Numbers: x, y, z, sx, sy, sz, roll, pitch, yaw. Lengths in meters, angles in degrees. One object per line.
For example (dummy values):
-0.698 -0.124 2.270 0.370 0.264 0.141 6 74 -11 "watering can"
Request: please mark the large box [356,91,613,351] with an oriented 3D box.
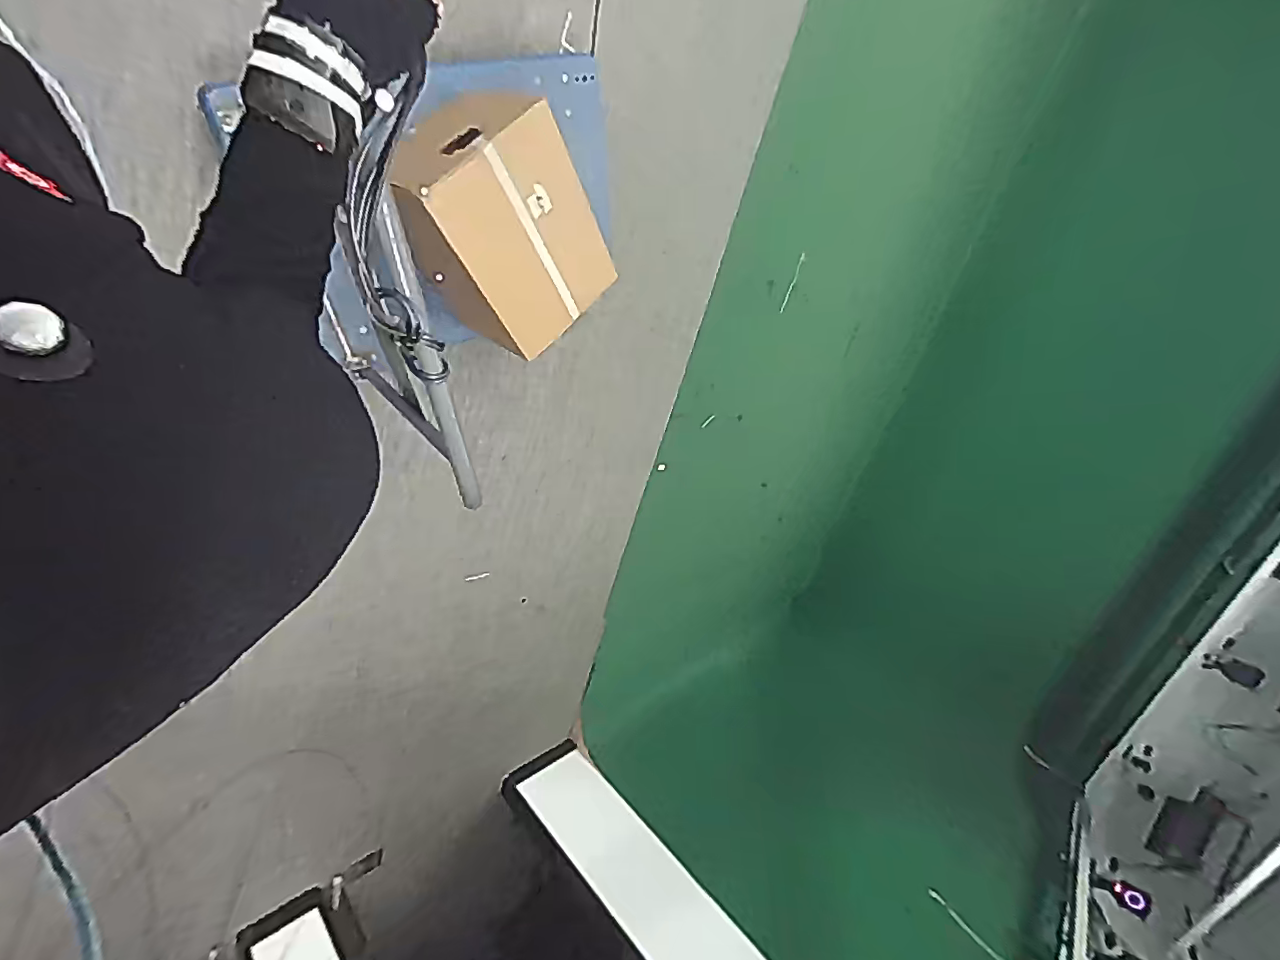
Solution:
-0.327 -0.571 1.210 0.320 0.320 0.408 -48 143 -13 "large box"
